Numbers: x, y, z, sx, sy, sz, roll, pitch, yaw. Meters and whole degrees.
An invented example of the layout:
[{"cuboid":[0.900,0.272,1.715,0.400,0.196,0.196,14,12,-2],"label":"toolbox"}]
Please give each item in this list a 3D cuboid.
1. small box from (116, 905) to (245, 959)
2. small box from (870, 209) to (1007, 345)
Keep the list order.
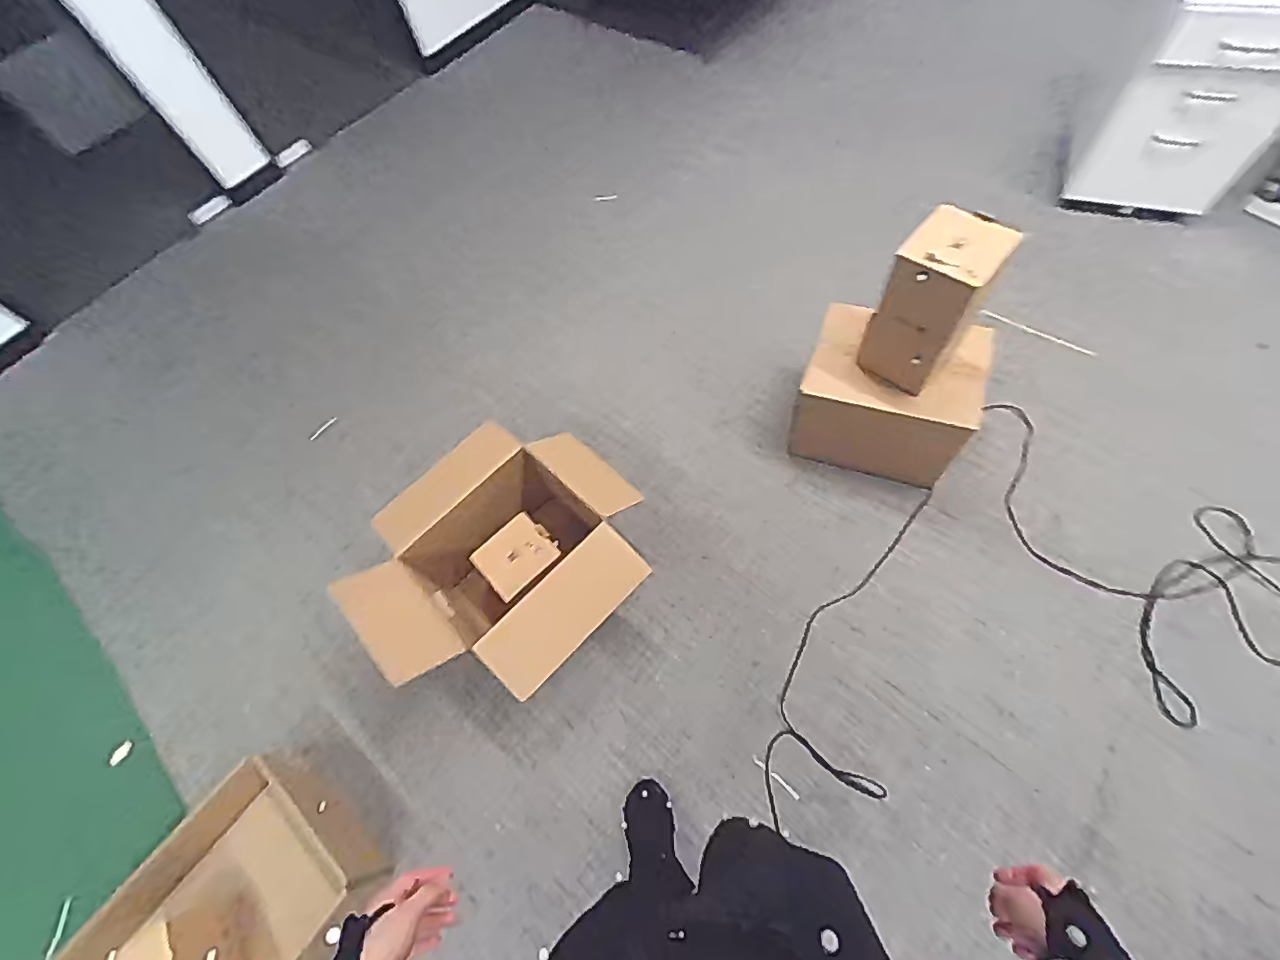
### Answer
[{"cuboid":[-0.945,1.014,1.096,0.179,0.176,0.168,-38,63,-12],"label":"small box"},{"cuboid":[0.609,-0.420,1.128,0.168,0.176,0.179,37,72,24],"label":"small box"}]
